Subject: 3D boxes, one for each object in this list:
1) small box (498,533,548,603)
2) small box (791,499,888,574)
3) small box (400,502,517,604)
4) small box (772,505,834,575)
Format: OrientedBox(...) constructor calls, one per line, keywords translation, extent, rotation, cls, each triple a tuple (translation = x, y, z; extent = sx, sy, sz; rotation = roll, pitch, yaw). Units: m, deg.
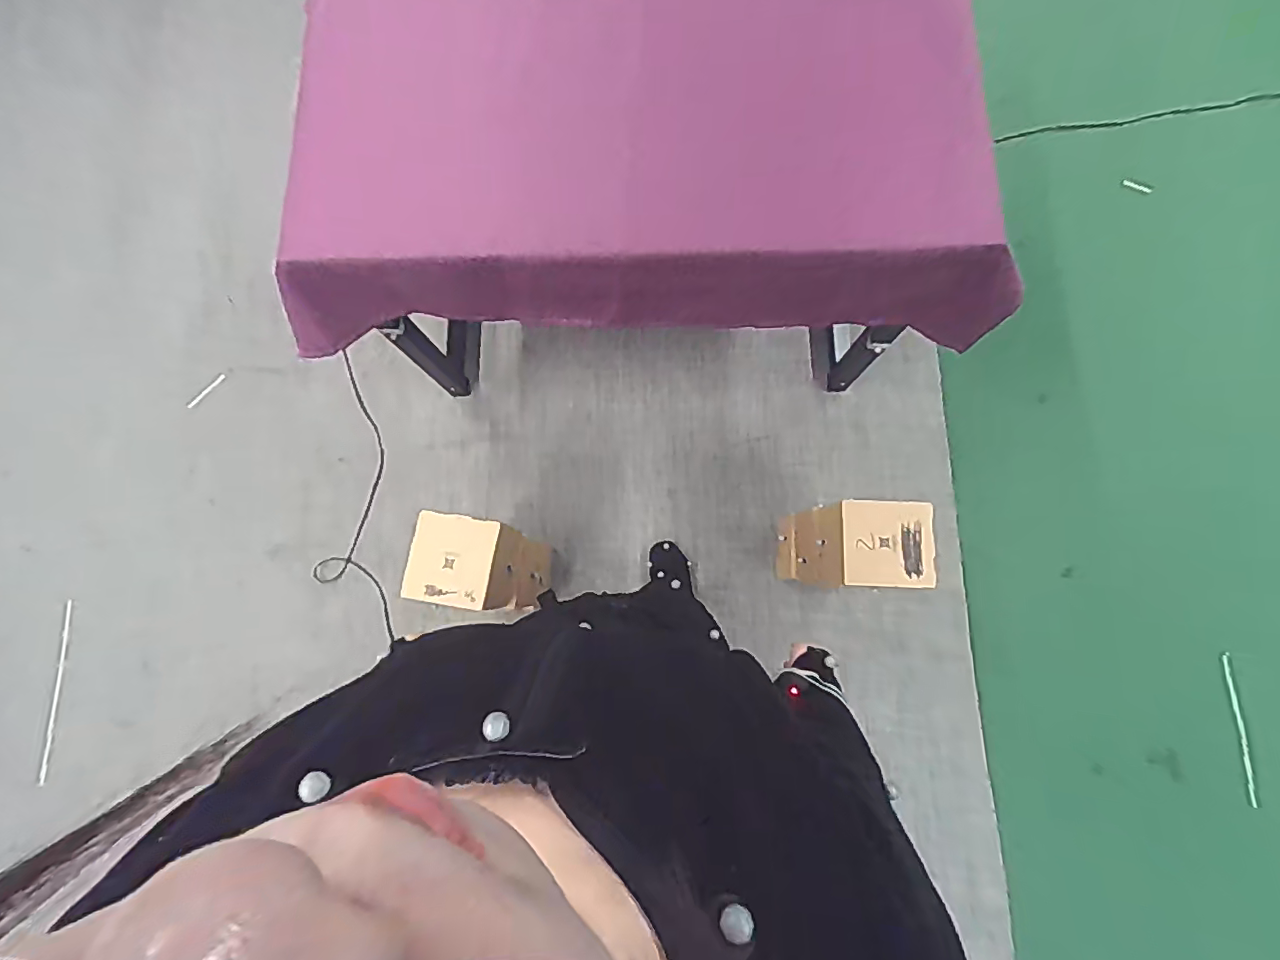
OrientedBox(translation=(-0.346, 0.232, 1.449), extent=(0.168, 0.176, 0.179), rotation=(3, 79, 1), cls="small box")
OrientedBox(translation=(0.464, 0.139, 1.286), extent=(0.179, 0.176, 0.168), rotation=(1, 81, 0), cls="small box")
OrientedBox(translation=(-0.367, 0.155, 1.129), extent=(0.168, 0.176, 0.179), rotation=(10, 80, 3), cls="small box")
OrientedBox(translation=(0.458, 0.165, 1.446), extent=(0.179, 0.176, 0.168), rotation=(4, 80, 1), cls="small box")
